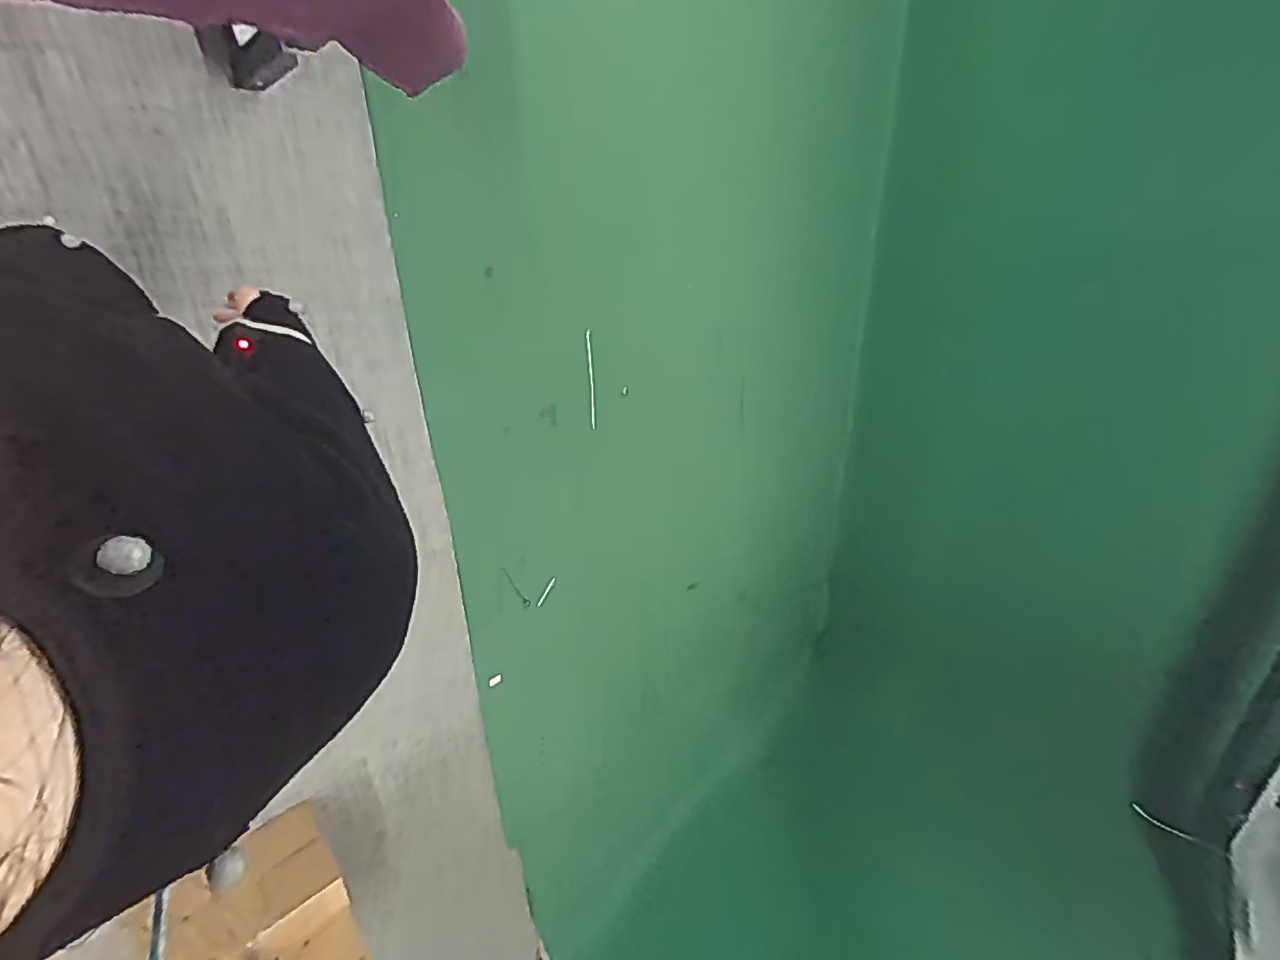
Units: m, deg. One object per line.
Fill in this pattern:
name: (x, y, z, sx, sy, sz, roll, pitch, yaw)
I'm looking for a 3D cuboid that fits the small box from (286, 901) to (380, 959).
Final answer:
small box: (-0.785, 1.251, 1.392, 0.168, 0.176, 0.179, -18, 120, -45)
